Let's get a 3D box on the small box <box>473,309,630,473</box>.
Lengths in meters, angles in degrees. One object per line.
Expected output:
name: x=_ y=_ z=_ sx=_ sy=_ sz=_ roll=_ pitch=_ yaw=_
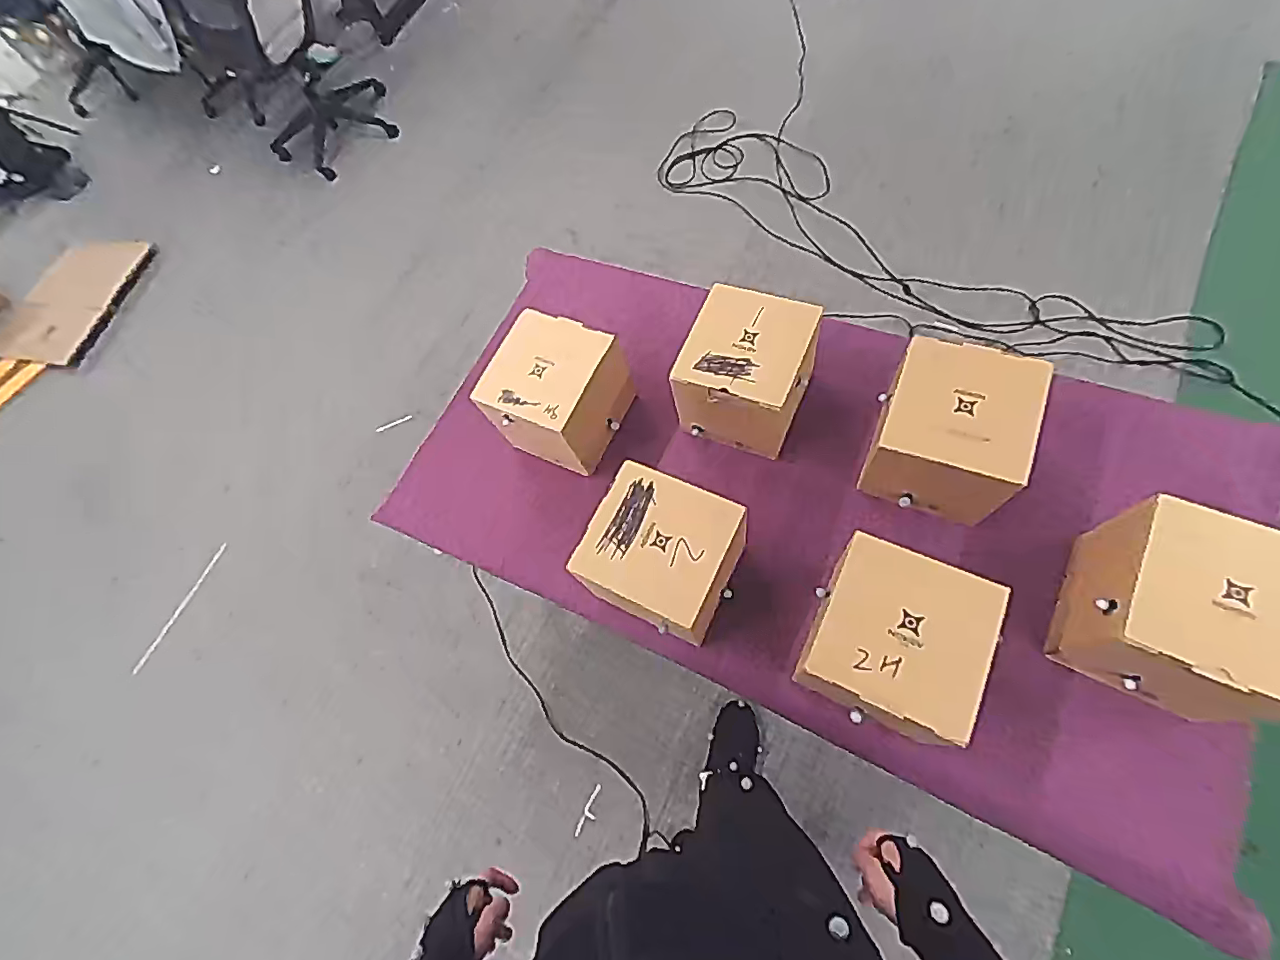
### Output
small box: x=-0.129 y=-0.139 z=0.878 sx=0.168 sy=0.176 sz=0.179 roll=22 pitch=73 yaw=20

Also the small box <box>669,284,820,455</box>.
small box: x=0.163 y=-0.162 z=0.832 sx=0.168 sy=0.176 sz=0.179 roll=20 pitch=72 yaw=18

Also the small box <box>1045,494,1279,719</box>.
small box: x=0.605 y=0.147 z=0.614 sx=0.168 sy=0.176 sz=0.179 roll=23 pitch=74 yaw=20

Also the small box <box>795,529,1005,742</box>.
small box: x=0.298 y=0.189 z=0.655 sx=0.168 sy=0.176 sz=0.179 roll=22 pitch=73 yaw=20

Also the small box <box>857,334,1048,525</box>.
small box: x=0.413 y=-0.063 z=0.741 sx=0.168 sy=0.176 sz=0.179 roll=20 pitch=73 yaw=19
